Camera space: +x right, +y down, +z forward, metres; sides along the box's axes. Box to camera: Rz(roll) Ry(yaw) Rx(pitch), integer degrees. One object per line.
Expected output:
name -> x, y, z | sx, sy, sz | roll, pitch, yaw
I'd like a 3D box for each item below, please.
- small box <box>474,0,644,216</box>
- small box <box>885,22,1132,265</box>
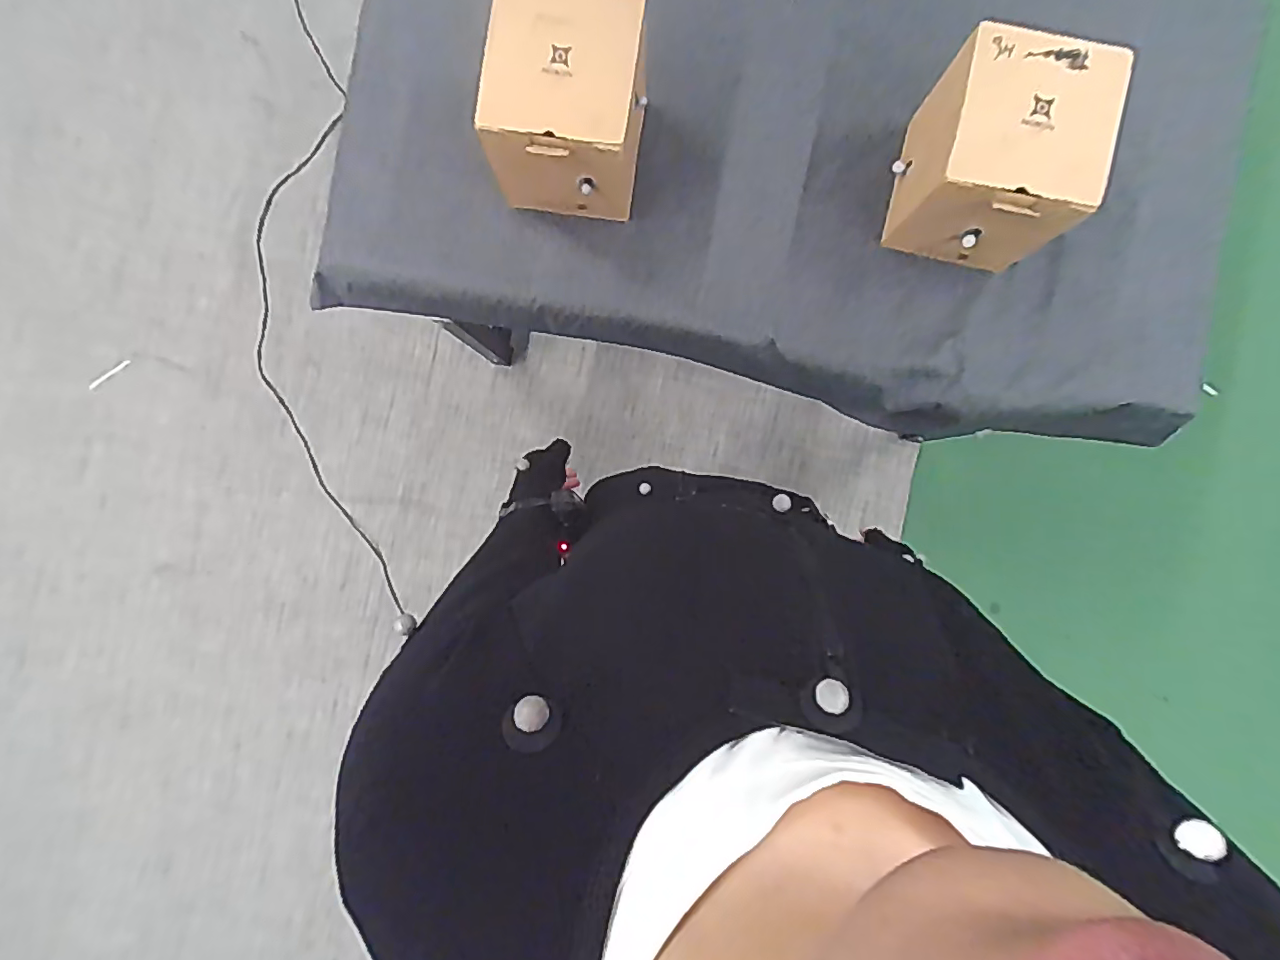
small box -> -0.087, -0.453, 0.660 | 0.168, 0.176, 0.179 | 8, 89, -1
small box -> 0.420, -0.384, 0.651 | 0.168, 0.176, 0.179 | 13, 91, 1
